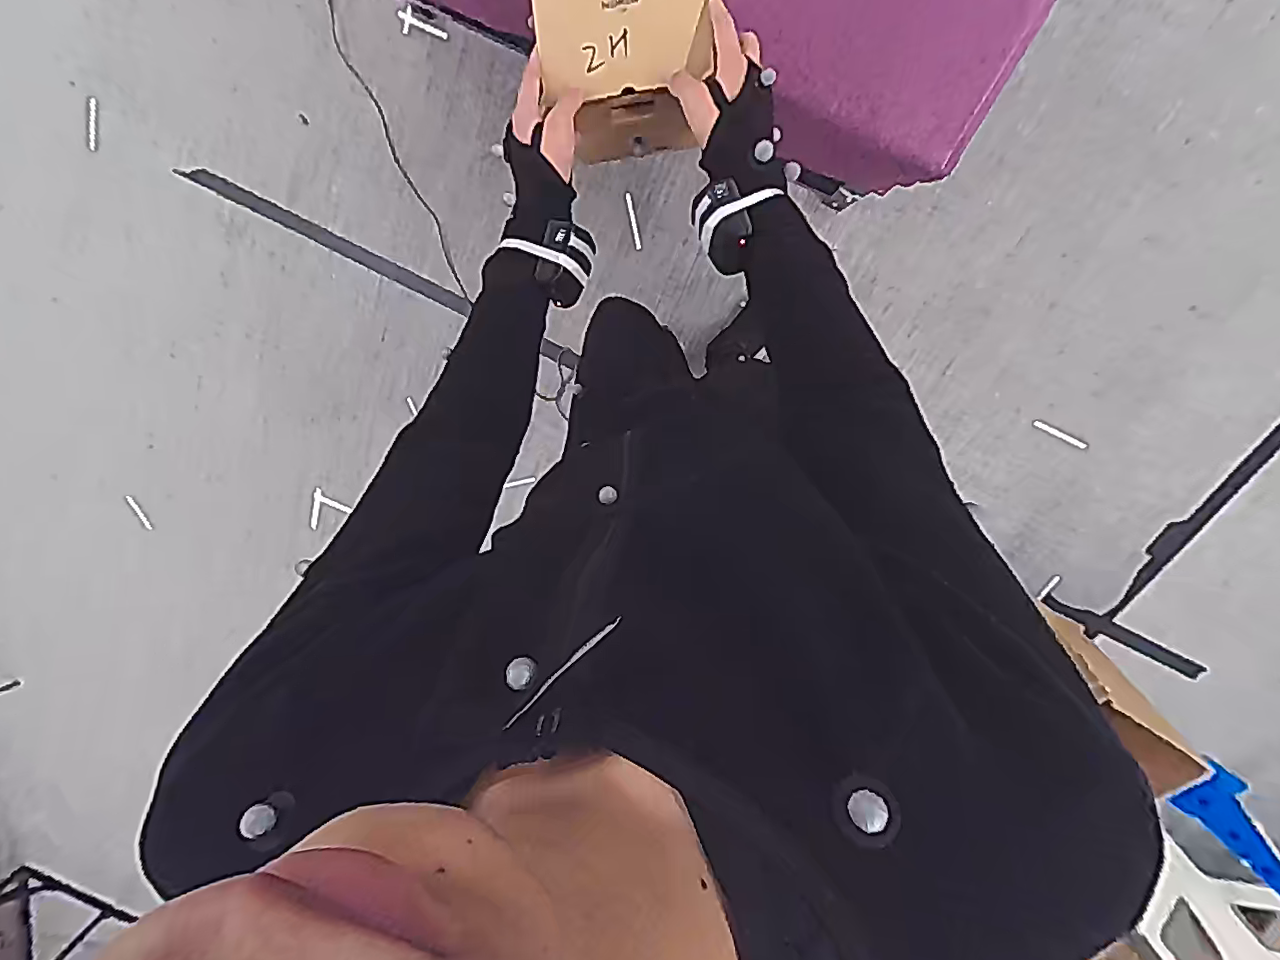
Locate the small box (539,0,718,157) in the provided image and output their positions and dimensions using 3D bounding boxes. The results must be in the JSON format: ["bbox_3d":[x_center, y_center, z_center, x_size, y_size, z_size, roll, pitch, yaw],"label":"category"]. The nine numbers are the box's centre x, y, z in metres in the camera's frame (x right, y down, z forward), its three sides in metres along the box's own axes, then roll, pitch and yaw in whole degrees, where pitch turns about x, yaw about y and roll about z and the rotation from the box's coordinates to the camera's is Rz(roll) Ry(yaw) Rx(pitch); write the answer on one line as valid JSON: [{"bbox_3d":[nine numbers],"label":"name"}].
[{"bbox_3d":[-0.008,-0.475,0.574,0.168,0.176,0.179,-4,104,7],"label":"small box"}]
